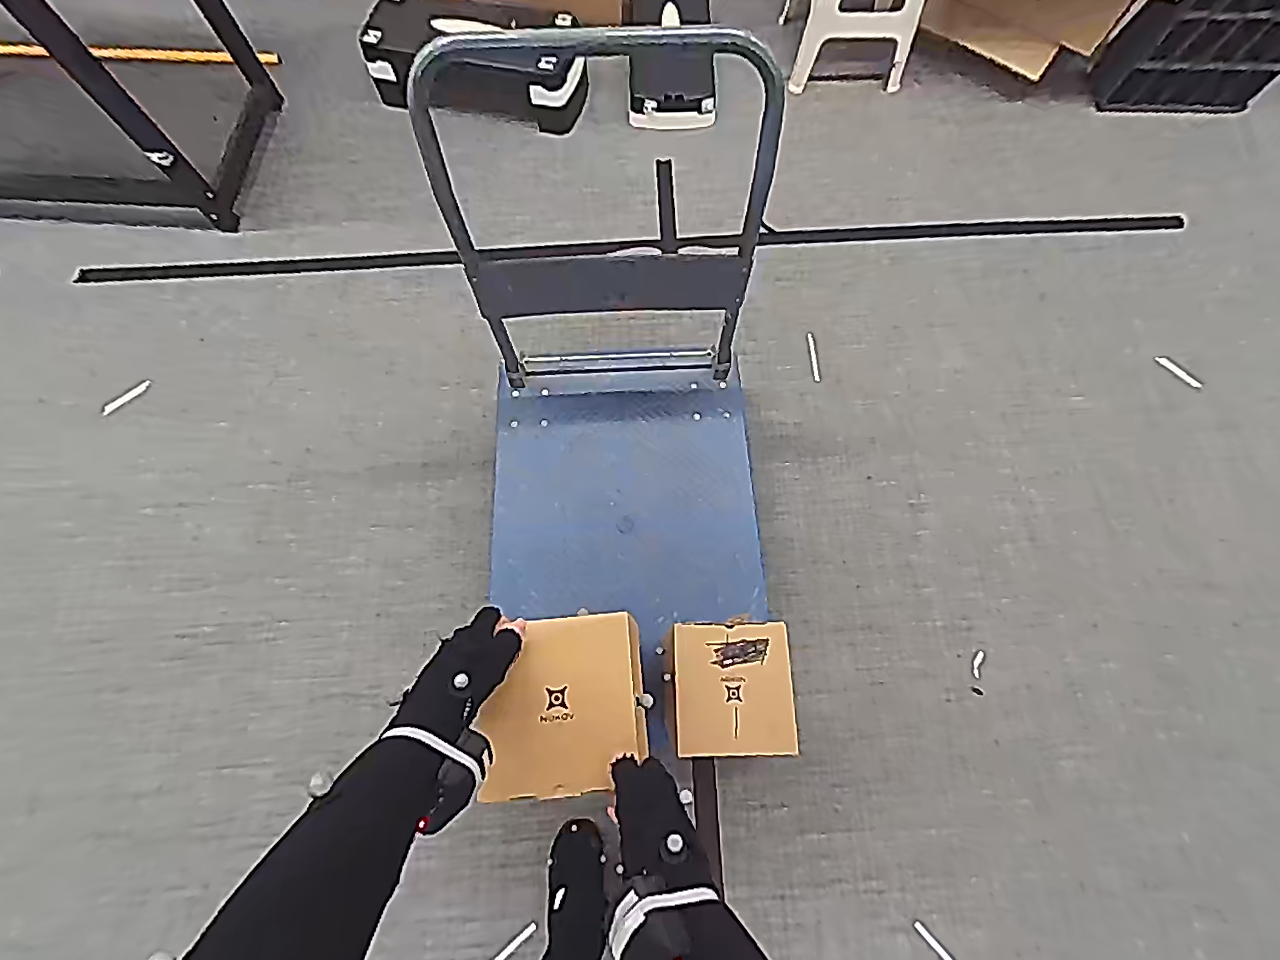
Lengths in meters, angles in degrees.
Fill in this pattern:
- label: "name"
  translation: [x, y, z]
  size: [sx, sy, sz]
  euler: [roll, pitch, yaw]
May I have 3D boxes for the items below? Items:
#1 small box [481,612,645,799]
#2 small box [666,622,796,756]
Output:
- label: "small box"
  translation: [-0.083, 0.259, 0.646]
  size: [0.168, 0.176, 0.179]
  euler: [-5, 72, 1]
- label: "small box"
  translation: [0.128, 0.316, 0.831]
  size: [0.168, 0.176, 0.179]
  euler: [1, 71, -1]
